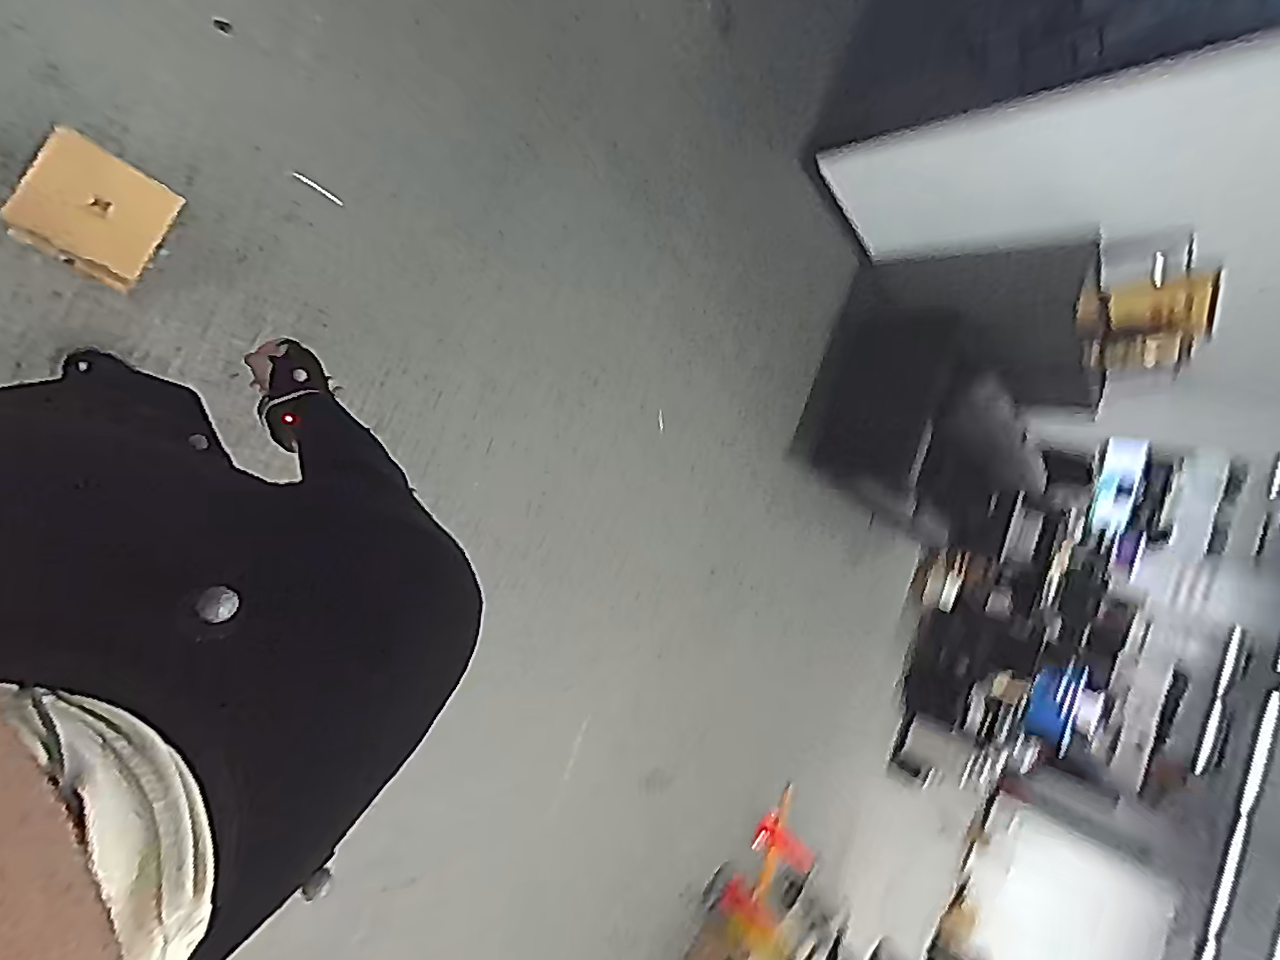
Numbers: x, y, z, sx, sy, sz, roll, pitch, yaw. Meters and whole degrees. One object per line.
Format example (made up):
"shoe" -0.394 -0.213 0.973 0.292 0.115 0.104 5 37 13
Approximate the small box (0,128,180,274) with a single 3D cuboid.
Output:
"small box" -0.958 -0.477 0.946 0.168 0.176 0.179 -39 125 -28

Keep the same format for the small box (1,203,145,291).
"small box" -1.069 -0.489 1.053 0.168 0.176 0.179 34 77 -44
